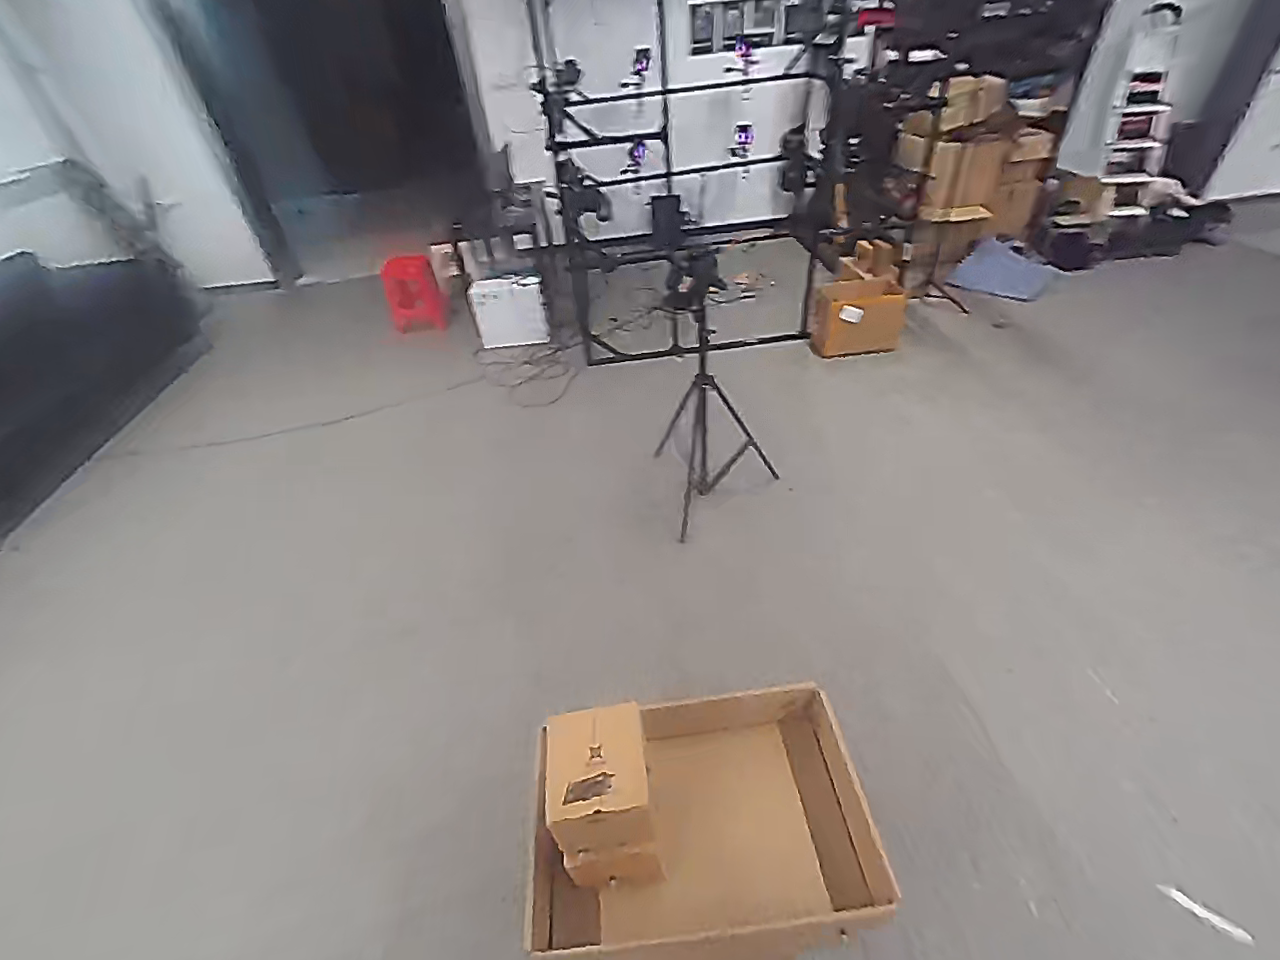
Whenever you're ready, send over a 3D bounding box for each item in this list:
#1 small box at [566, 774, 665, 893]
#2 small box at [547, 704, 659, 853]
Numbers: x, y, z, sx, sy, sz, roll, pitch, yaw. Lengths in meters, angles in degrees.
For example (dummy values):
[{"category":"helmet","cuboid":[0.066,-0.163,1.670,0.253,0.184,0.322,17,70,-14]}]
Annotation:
[{"category":"small box","cuboid":[-0.048,0.658,1.041,0.168,0.176,0.179,-9,40,-1]},{"category":"small box","cuboid":[-0.063,0.525,0.945,0.168,0.176,0.179,-8,39,-1]}]
